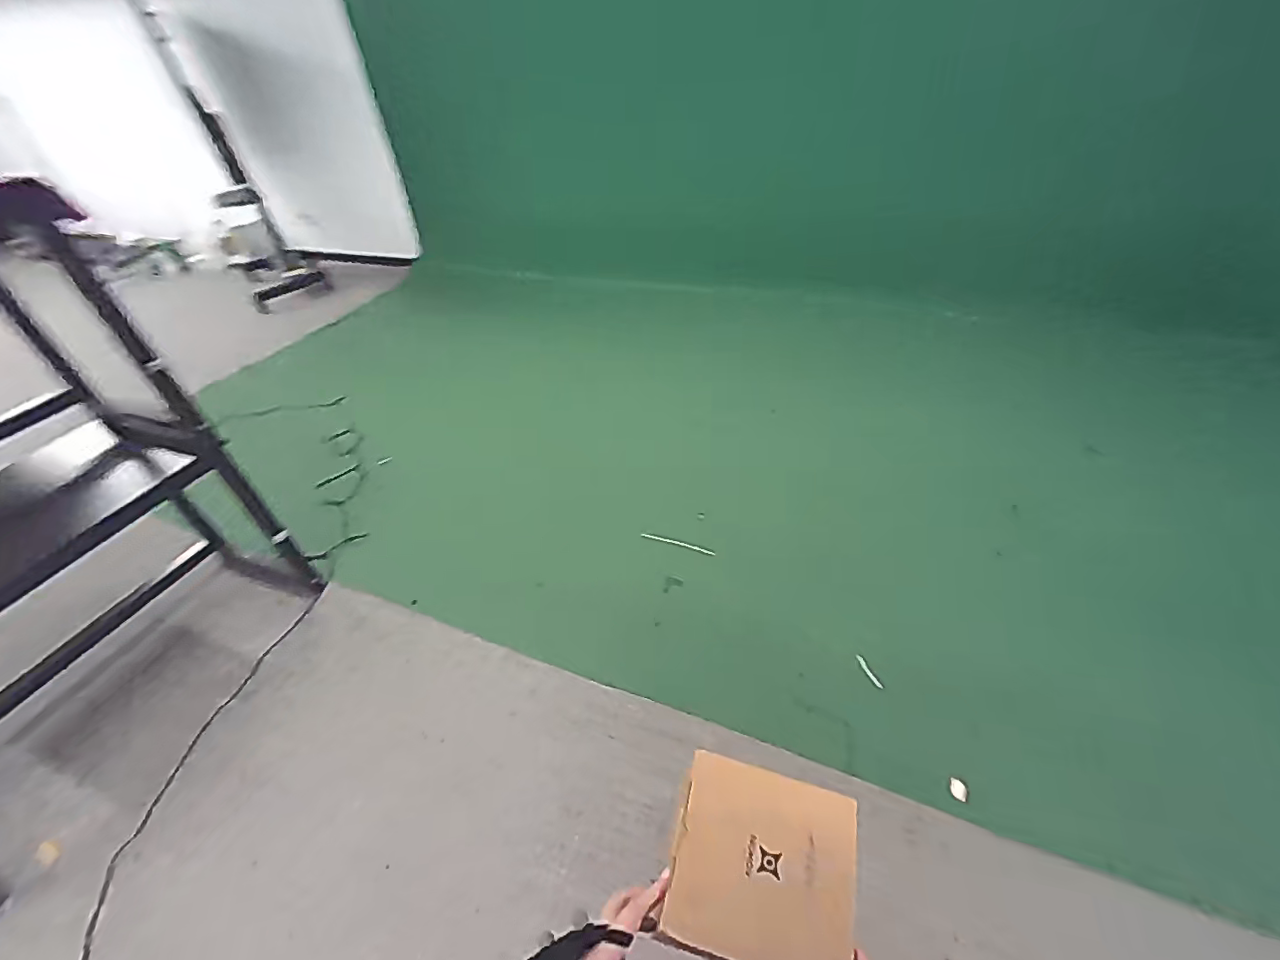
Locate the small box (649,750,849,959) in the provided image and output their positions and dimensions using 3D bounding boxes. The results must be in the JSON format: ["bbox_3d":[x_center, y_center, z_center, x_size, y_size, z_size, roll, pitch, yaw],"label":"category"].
[{"bbox_3d":[0.113,0.428,0.591,0.179,0.176,0.168,14,49,8],"label":"small box"}]
